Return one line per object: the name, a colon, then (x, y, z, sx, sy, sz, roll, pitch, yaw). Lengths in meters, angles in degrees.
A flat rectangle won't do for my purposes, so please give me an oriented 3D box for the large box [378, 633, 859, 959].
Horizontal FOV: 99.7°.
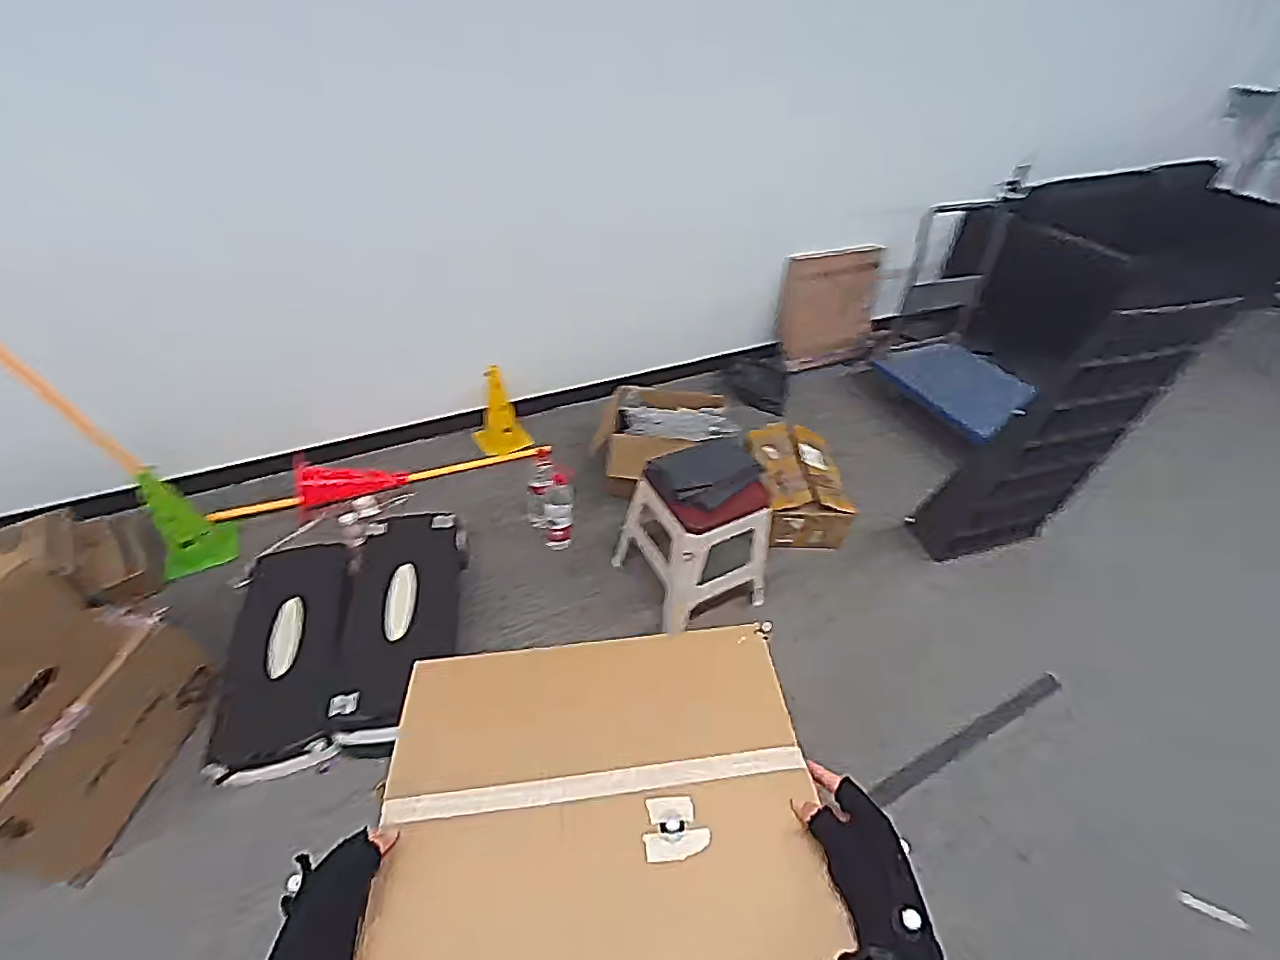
large box: (-0.029, 0.417, 0.636, 0.408, 0.320, 0.320, -4, 42, -3)
